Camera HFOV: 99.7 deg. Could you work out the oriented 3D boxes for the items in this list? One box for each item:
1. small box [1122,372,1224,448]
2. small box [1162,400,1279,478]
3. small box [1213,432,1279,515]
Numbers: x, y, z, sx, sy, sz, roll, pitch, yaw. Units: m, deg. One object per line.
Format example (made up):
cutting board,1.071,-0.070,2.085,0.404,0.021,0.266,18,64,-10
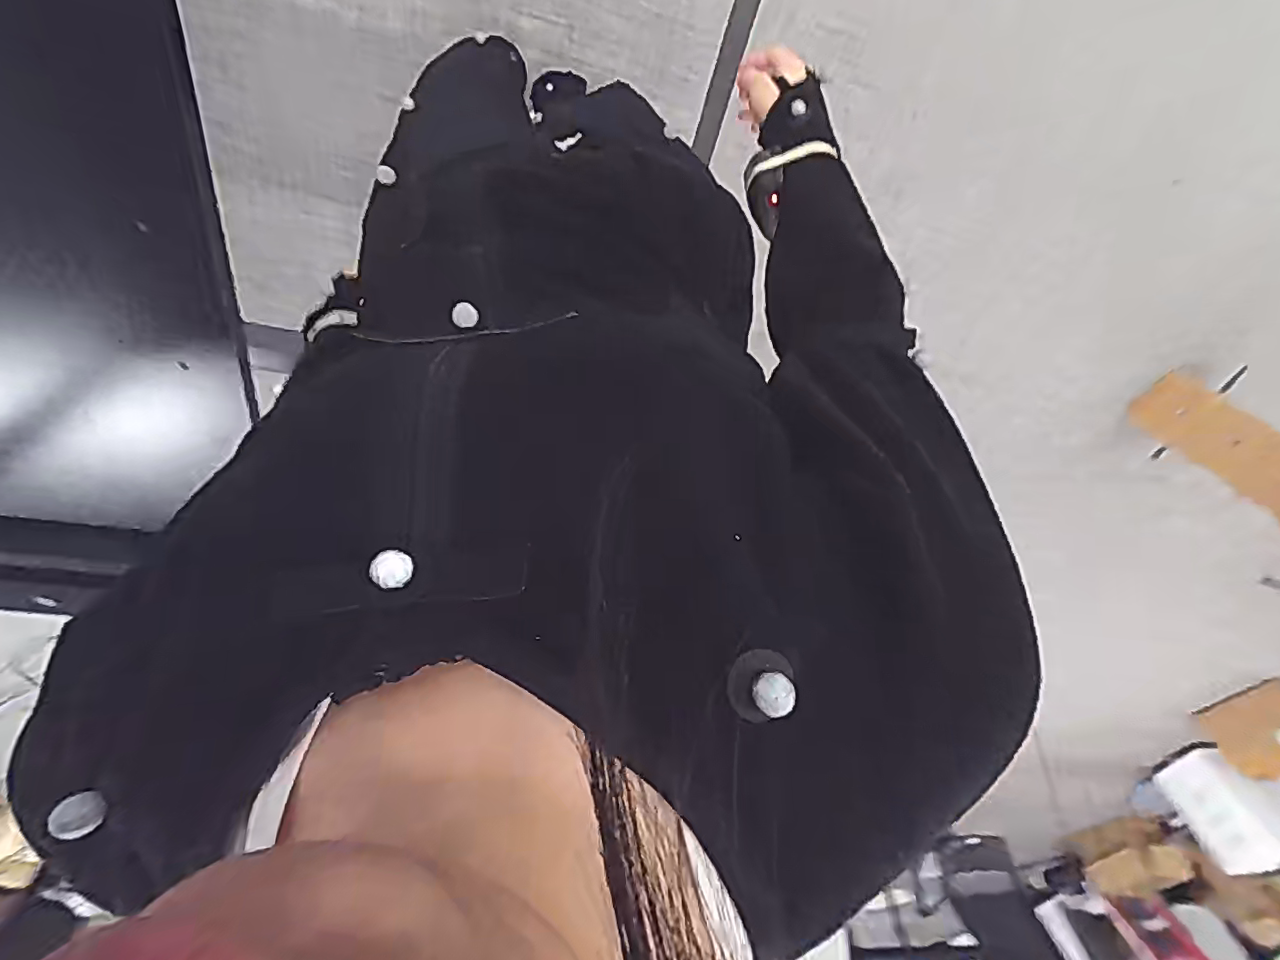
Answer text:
small box,1.663,-0.206,1.677,0.168,0.176,0.179,15,125,-16
small box,1.684,-0.103,1.550,0.168,0.176,0.179,18,124,-18
small box,1.704,-0.002,1.426,0.168,0.176,0.179,16,125,-16
